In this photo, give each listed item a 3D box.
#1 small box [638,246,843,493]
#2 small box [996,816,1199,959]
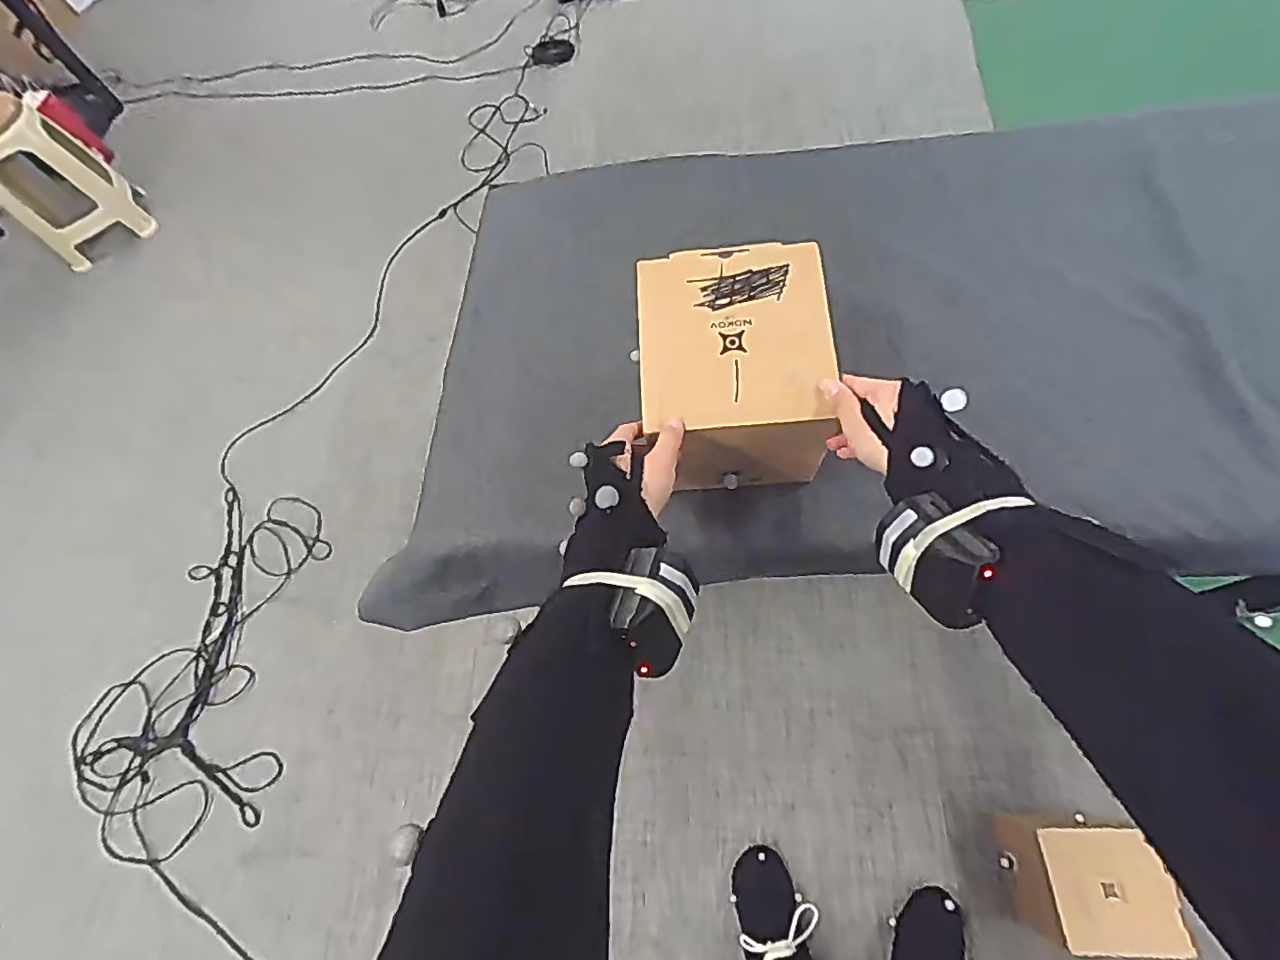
[{"bbox_3d":[0.089,-0.098,0.539,0.168,0.176,0.179,-4,71,7],"label":"small box"},{"bbox_3d":[0.740,0.668,0.901,0.179,0.176,0.168,-4,64,8],"label":"small box"}]
